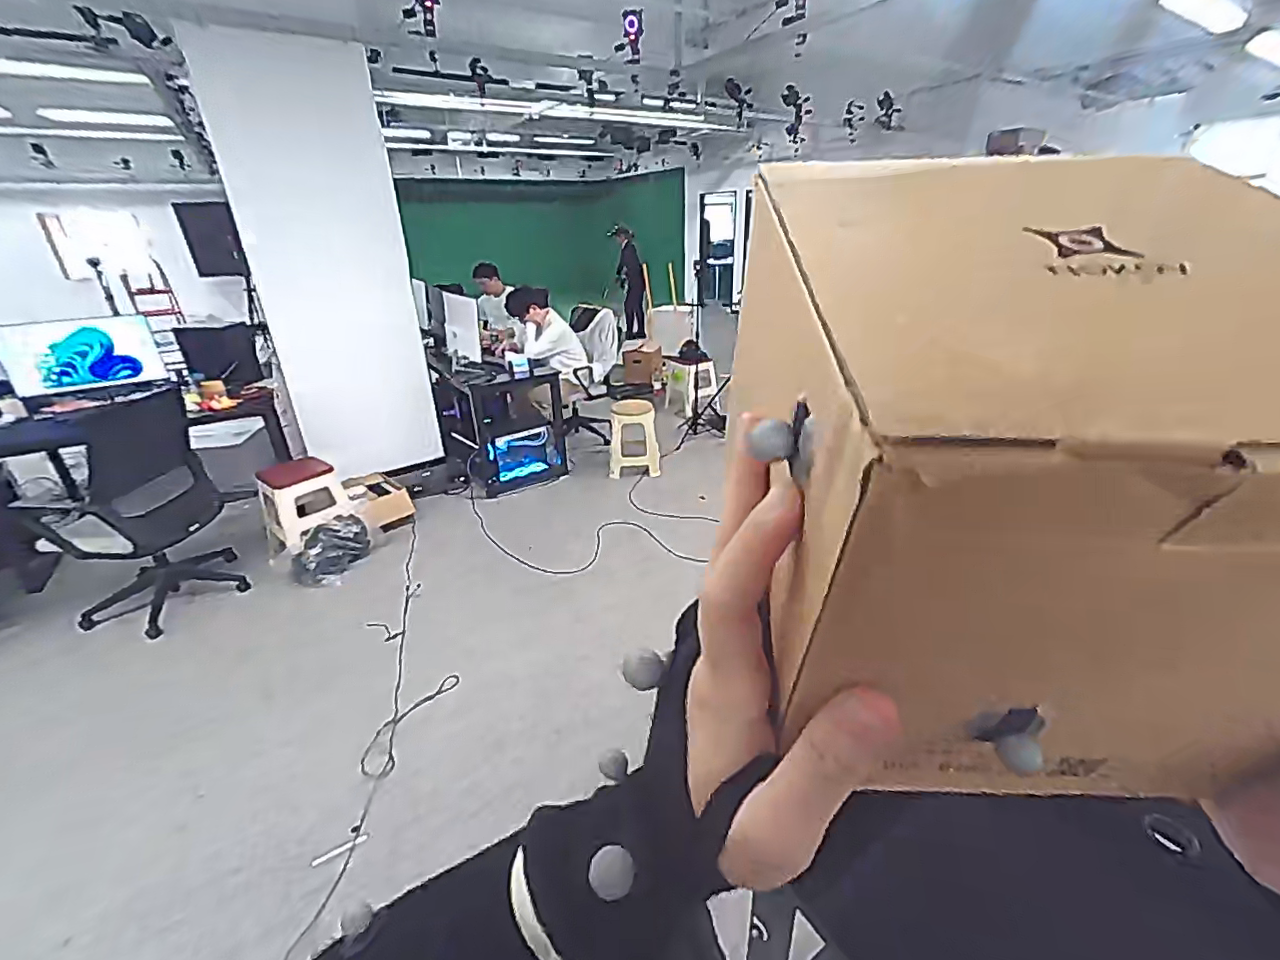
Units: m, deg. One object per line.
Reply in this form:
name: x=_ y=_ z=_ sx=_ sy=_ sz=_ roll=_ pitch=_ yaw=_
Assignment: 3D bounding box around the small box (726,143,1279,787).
small box: x=0.127 y=-0.010 z=0.203 sx=0.168 sy=0.176 sz=0.179 roll=0 pitch=44 yaw=2
